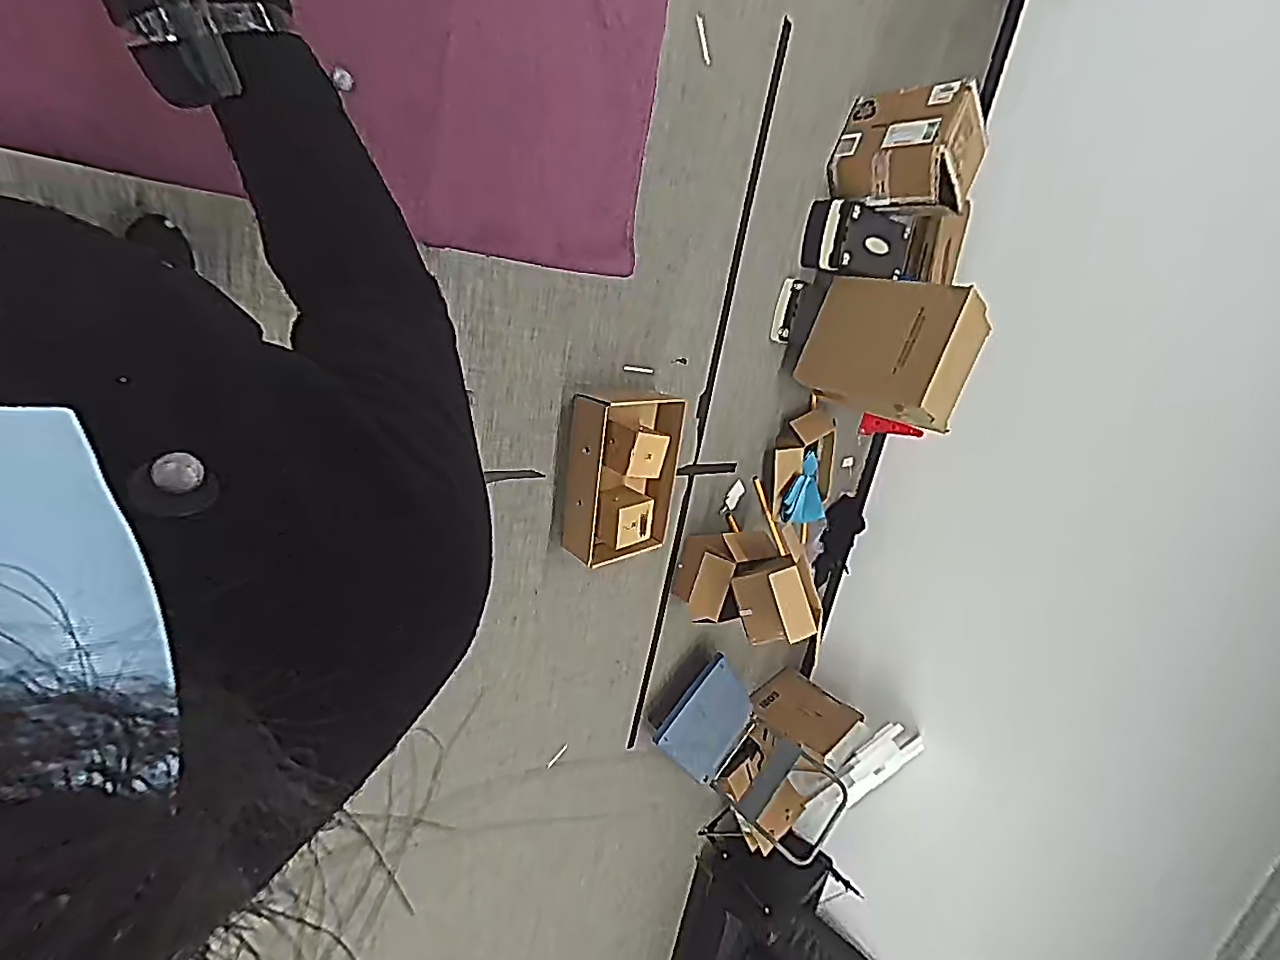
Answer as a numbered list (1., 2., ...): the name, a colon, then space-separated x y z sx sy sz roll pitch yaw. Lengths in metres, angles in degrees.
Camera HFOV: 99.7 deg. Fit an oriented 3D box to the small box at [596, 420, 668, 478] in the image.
1. small box: -0.031 -0.116 1.987 0.179 0.176 0.168 3 108 -47
